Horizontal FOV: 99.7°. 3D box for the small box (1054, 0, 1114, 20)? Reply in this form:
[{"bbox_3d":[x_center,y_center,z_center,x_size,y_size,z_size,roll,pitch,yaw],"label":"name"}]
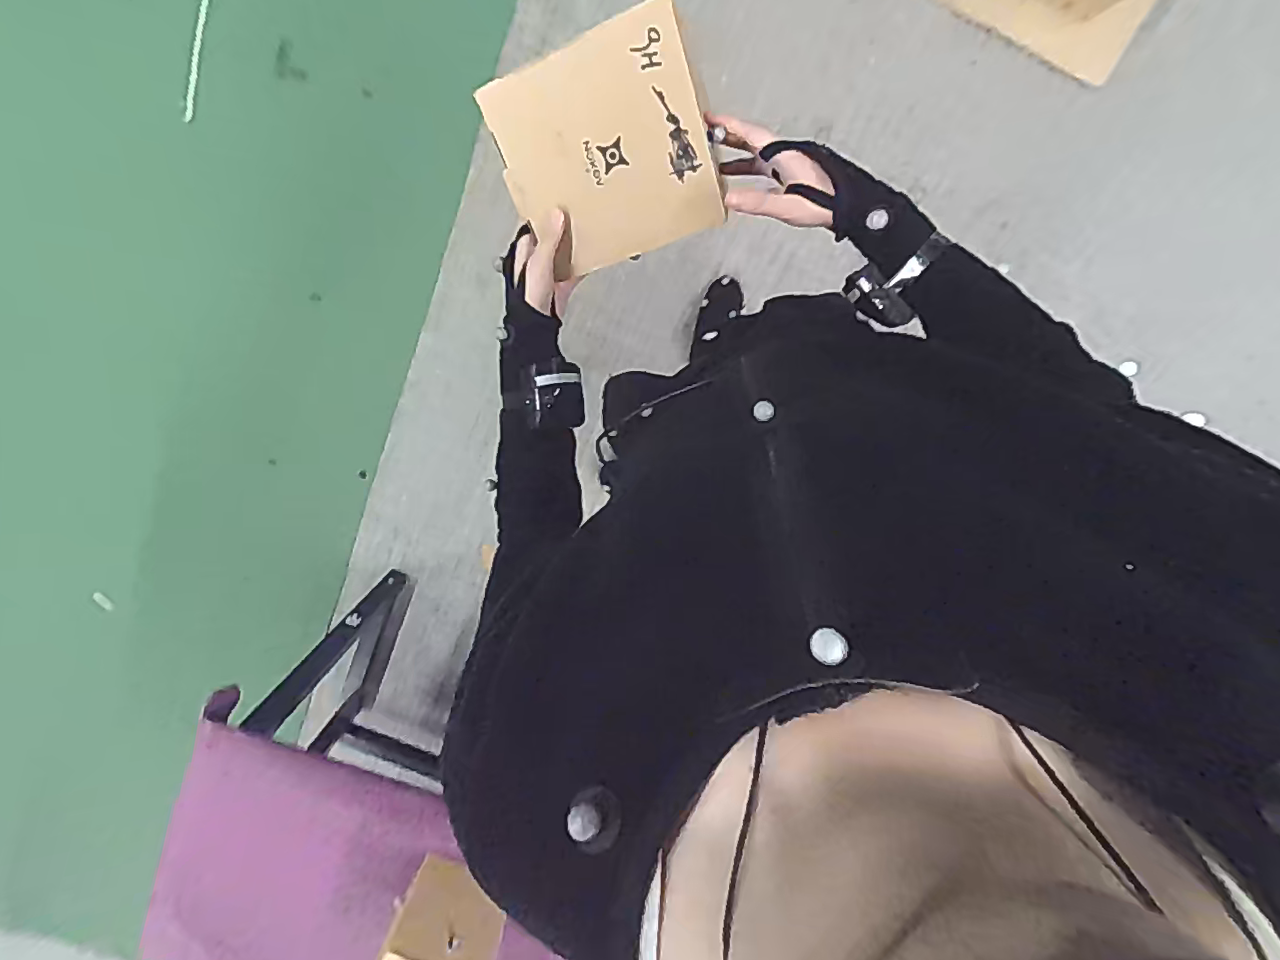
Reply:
[{"bbox_3d":[0.918,-1.063,1.055,0.168,0.176,0.179,27,106,-8],"label":"small box"}]

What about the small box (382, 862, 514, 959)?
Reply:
[{"bbox_3d":[-0.345,0.824,0.955,0.179,0.176,0.168,27,108,-6],"label":"small box"}]
